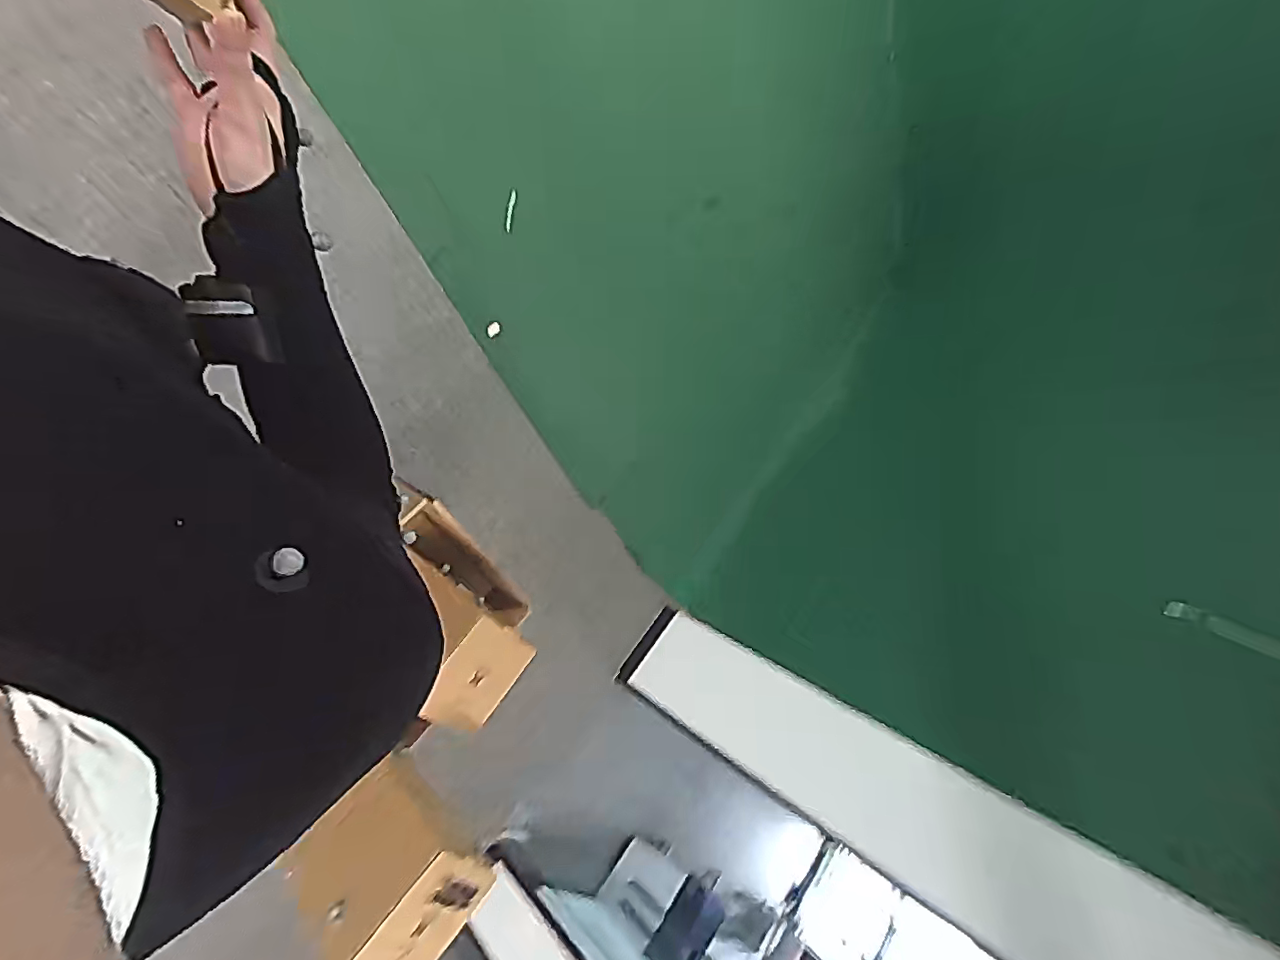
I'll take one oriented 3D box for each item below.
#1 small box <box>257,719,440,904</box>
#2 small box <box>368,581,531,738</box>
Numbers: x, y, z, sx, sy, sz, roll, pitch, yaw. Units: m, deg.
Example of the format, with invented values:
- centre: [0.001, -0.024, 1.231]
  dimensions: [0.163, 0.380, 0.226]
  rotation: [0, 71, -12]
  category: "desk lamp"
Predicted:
- centre: [-0.475, 0.531, 0.883]
  dimensions: [0.179, 0.176, 0.168]
  rotation: [-46, 136, -25]
  category: "small box"
- centre: [-0.332, 0.305, 0.942]
  dimensions: [0.179, 0.176, 0.168]
  rotation: [-52, 138, -18]
  category: "small box"
